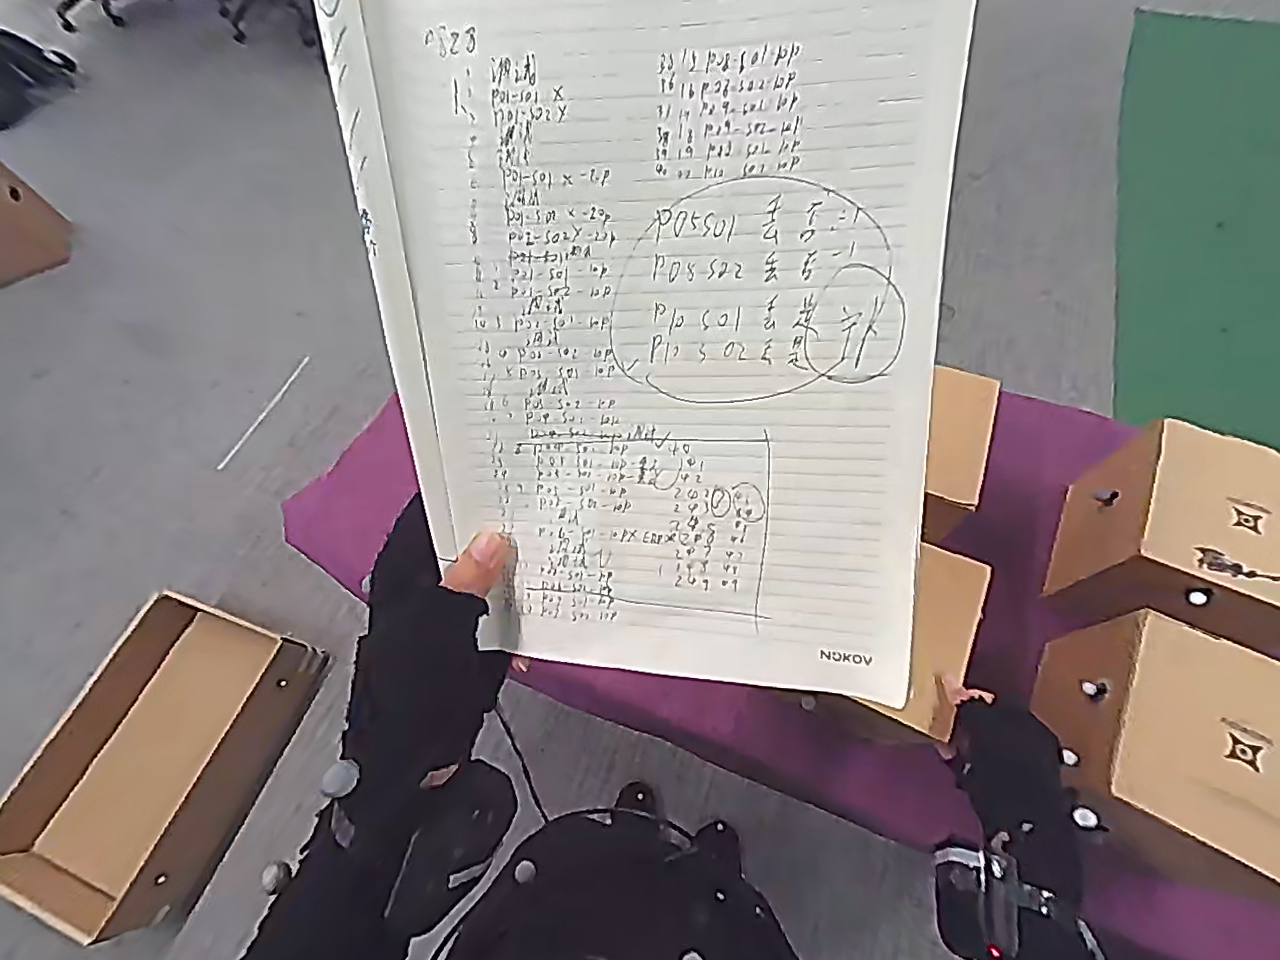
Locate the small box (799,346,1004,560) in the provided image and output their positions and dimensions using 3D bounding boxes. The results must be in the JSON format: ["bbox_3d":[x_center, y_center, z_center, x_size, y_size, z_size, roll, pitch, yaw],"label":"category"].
[{"bbox_3d":[0.310,-0.027,0.669,0.168,0.176,0.179,20,67,15],"label":"small box"}]

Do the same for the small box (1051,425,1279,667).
[{"bbox_3d":[0.594,0.077,0.591,0.168,0.176,0.179,25,67,17],"label":"small box"}]
